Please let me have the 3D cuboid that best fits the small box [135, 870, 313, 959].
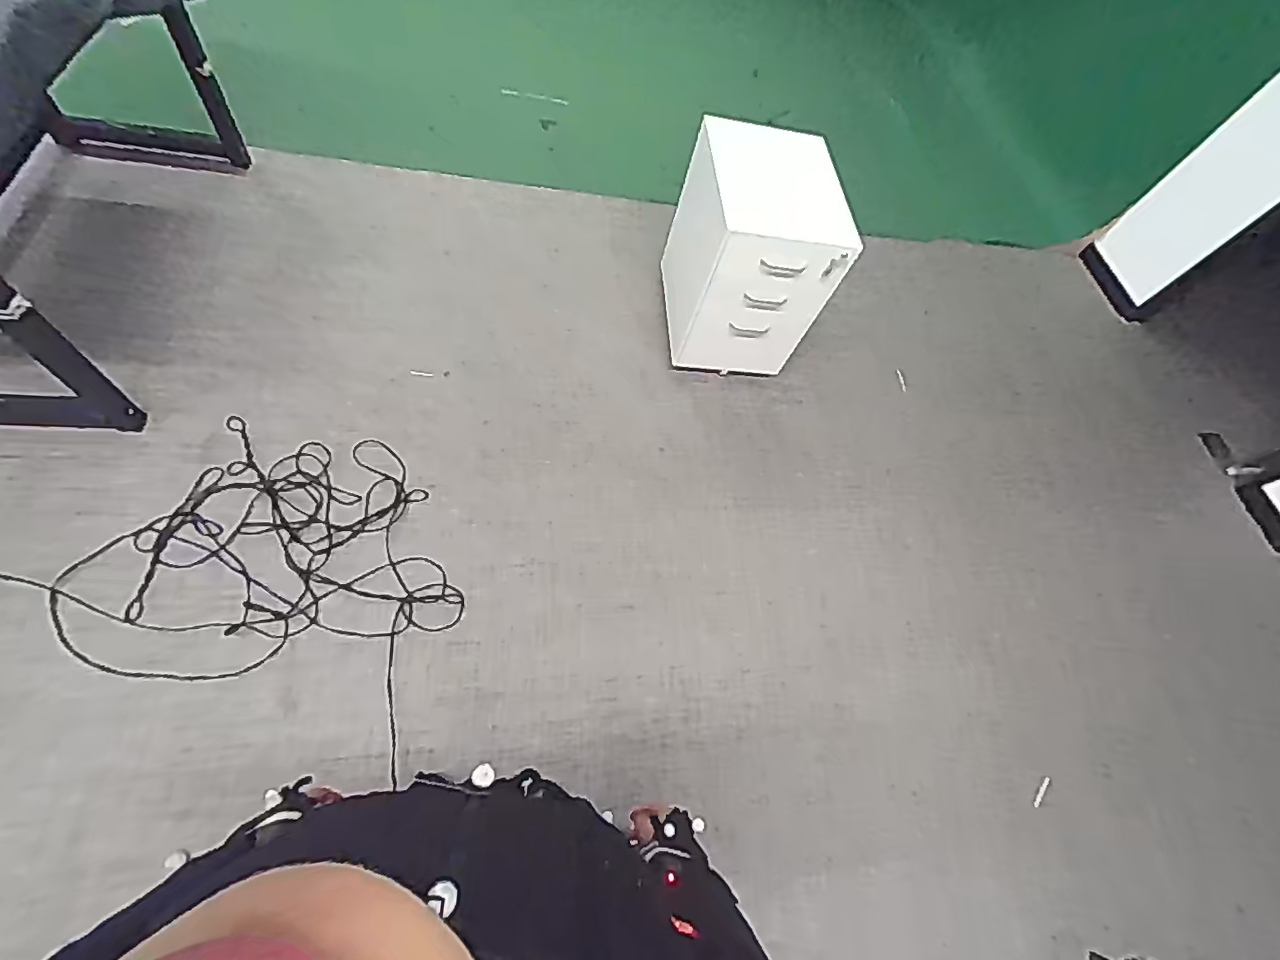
[{"bbox_3d":[-0.720,0.835,0.953,0.179,0.176,0.168,-31,73,-27],"label":"small box"}]
